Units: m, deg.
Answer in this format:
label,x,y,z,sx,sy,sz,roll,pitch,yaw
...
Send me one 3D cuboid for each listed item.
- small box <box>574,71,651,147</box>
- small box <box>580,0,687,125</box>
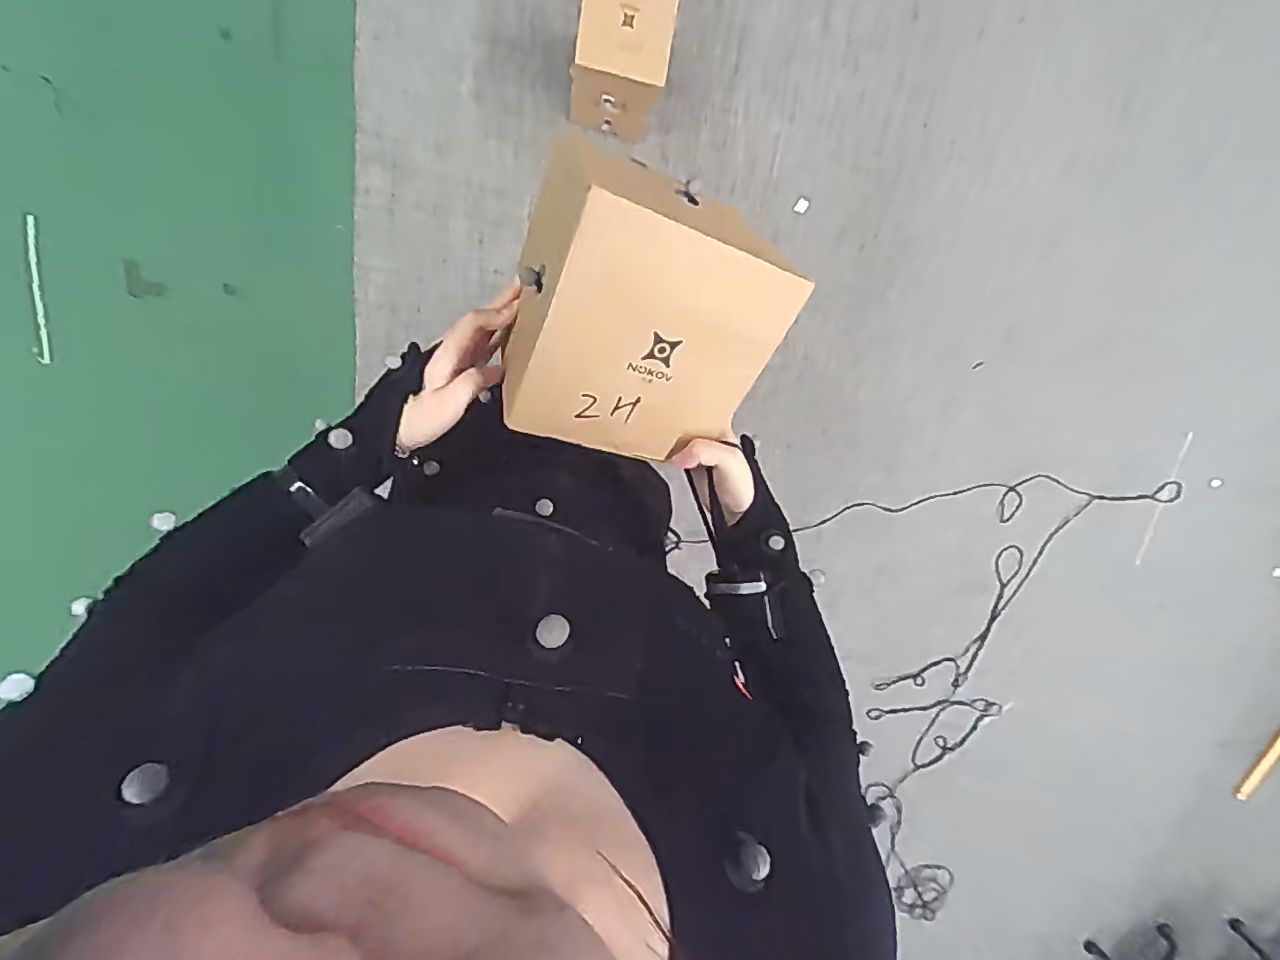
label,x,y,z,sx,sy,sz,roll,pitch,yaw
small box,-0.043,-0.852,1.165,0.168,0.176,0.179,11,105,-11
small box,-0.019,-0.804,1.010,0.168,0.176,0.179,8,106,-9
